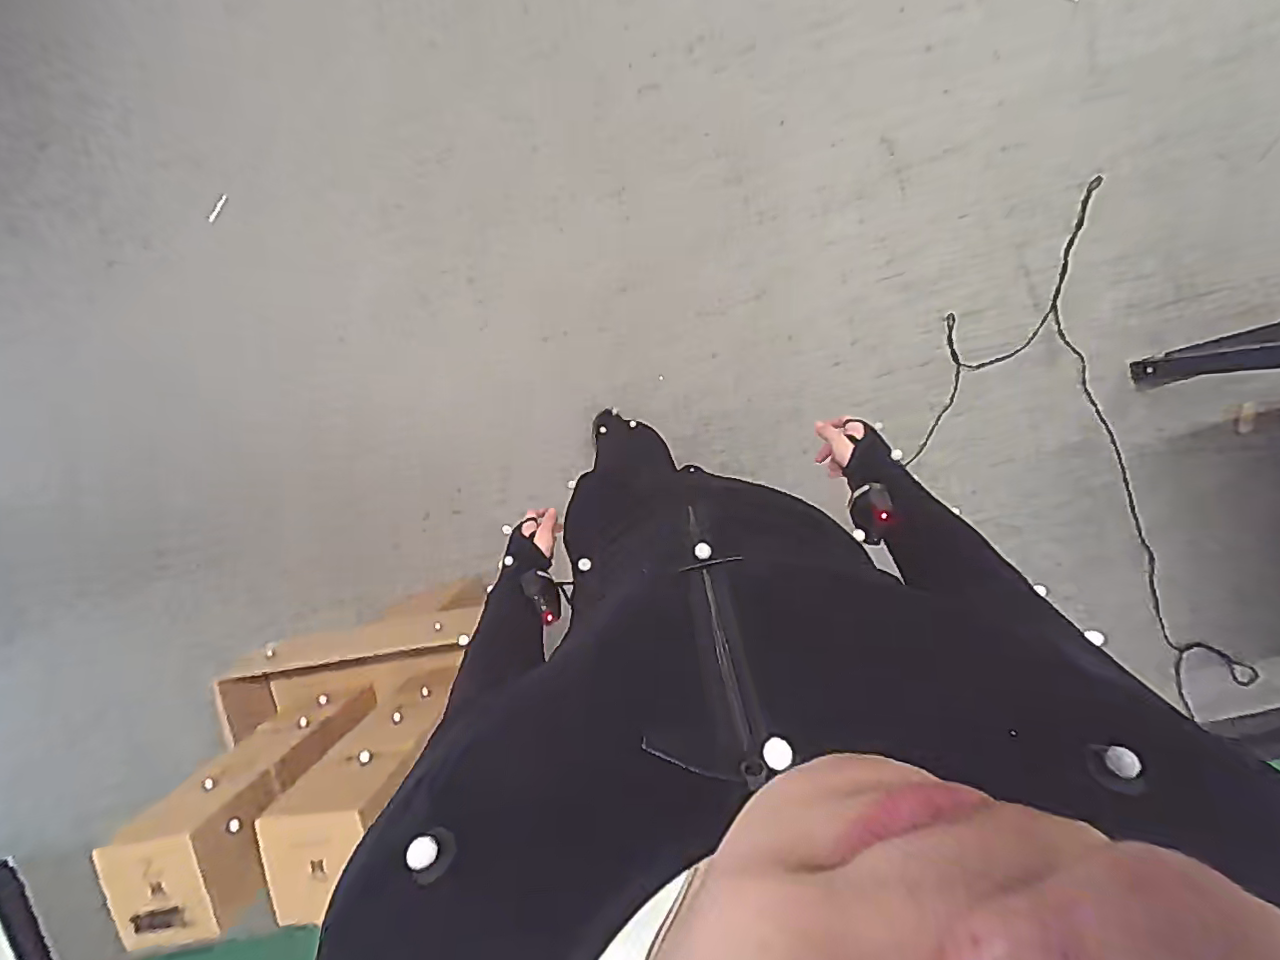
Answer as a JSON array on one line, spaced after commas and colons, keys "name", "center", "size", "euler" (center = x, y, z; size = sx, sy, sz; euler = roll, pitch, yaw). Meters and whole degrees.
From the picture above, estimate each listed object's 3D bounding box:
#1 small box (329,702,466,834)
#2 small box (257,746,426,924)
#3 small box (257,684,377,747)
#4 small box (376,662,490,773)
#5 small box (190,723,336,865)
[{"name": "small box", "center": [-0.456, 0.546, 1.039], "size": [0.168, 0.176, 0.179], "euler": [-8, 96, 6]}, {"name": "small box", "center": [-0.468, 0.566, 0.878], "size": [0.168, 0.176, 0.179], "euler": [-7, 95, 4]}, {"name": "small box", "center": [-0.714, 0.584, 1.227], "size": [0.168, 0.176, 0.179], "euler": [-11, 96, 4]}, {"name": "small box", "center": [-0.449, 0.531, 1.203], "size": [0.168, 0.176, 0.179], "euler": [-9, 96, 5]}, {"name": "small box", "center": [-0.718, 0.603, 1.064], "size": [0.168, 0.176, 0.179], "euler": [-12, 97, 4]}]
